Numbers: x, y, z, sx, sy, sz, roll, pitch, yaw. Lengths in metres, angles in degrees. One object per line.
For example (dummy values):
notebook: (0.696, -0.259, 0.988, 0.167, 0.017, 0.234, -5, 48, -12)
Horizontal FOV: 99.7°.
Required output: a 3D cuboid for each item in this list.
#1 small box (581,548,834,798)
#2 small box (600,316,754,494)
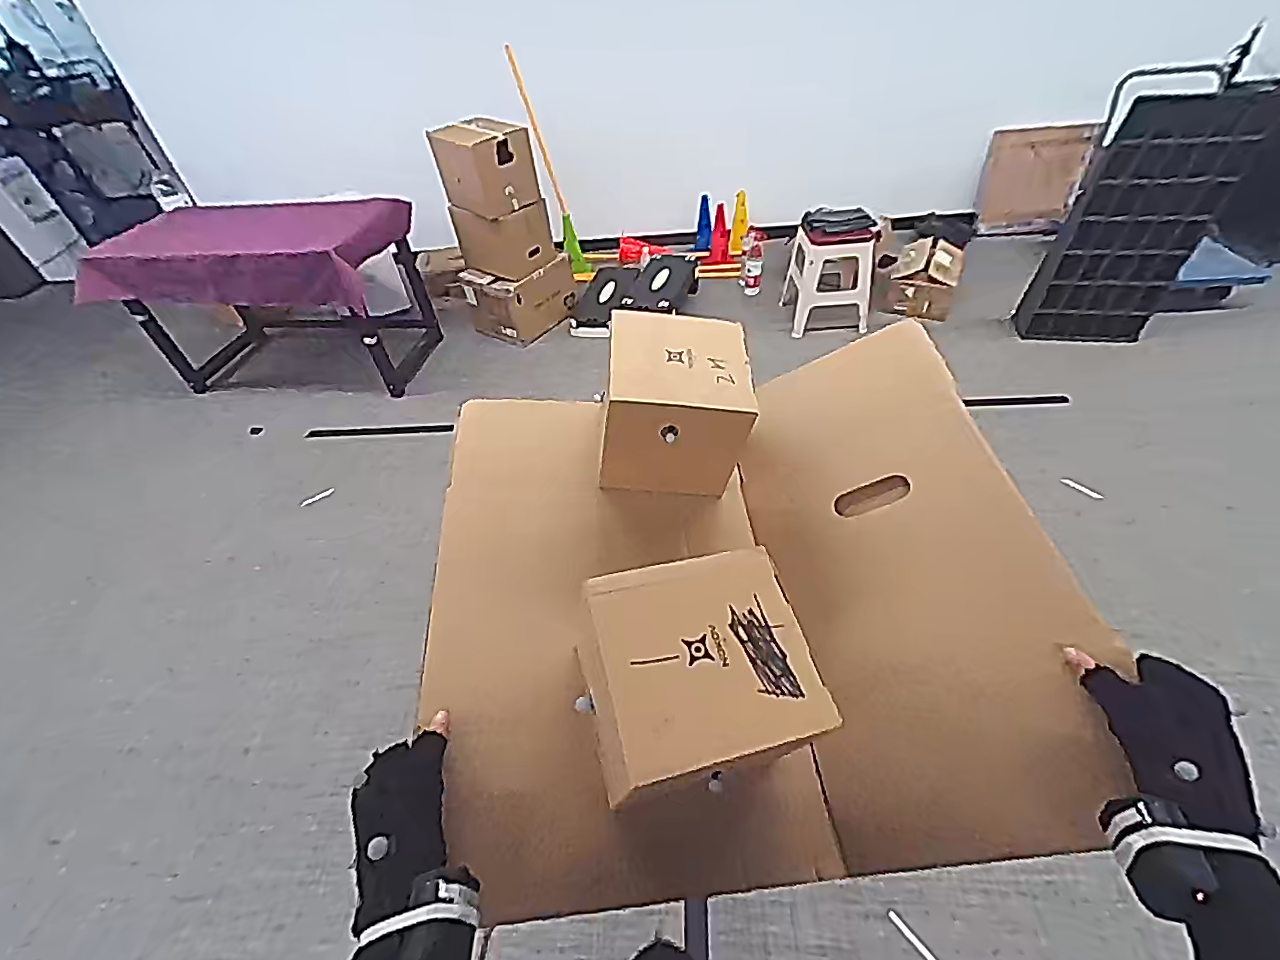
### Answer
small box: (0.046, 0.188, 0.523, 0.179, 0.176, 0.168, -9, 56, -15)
small box: (0.039, -0.095, 0.732, 0.179, 0.176, 0.168, 5, 53, -6)
